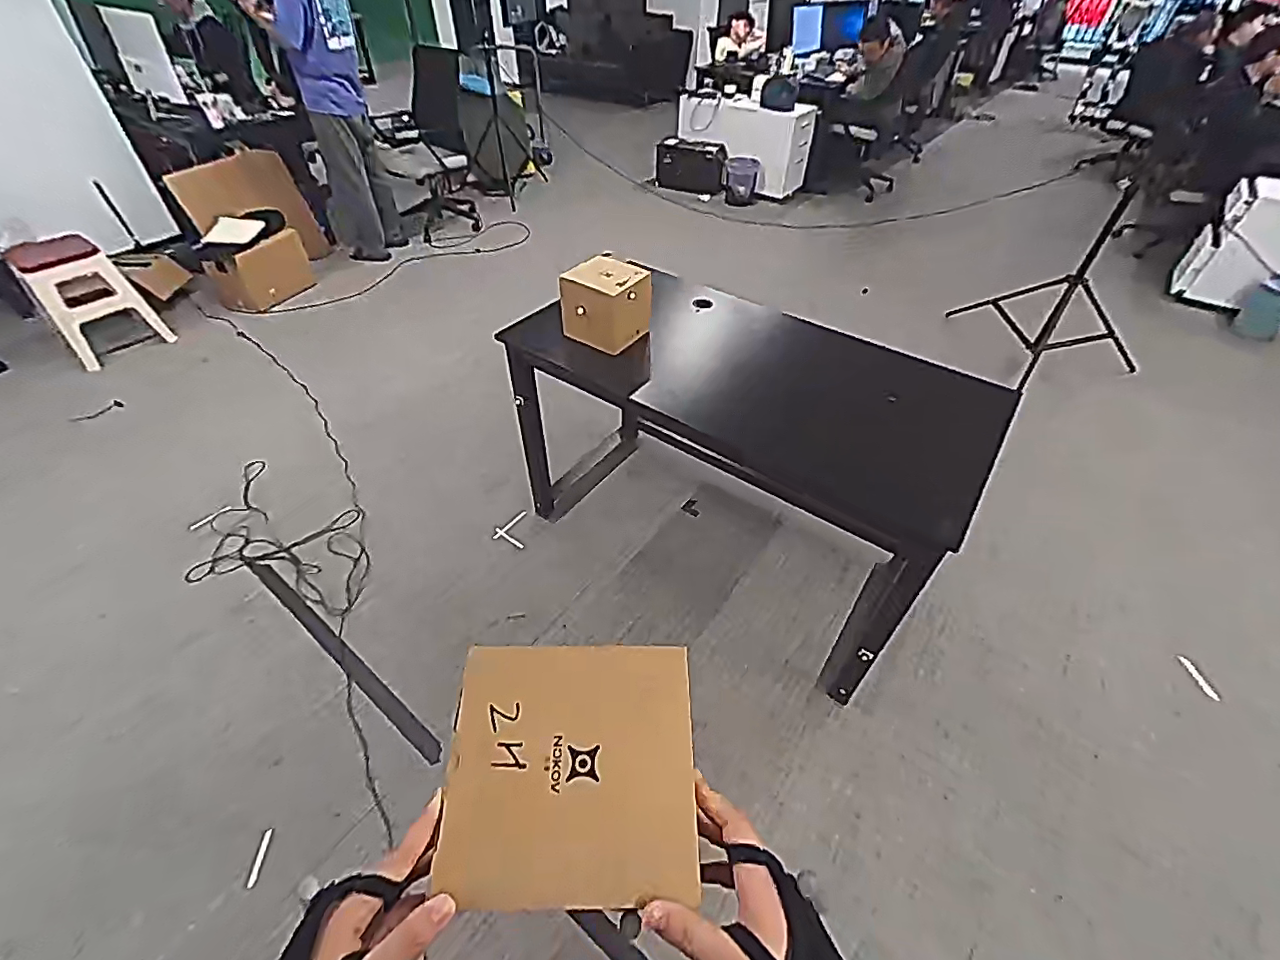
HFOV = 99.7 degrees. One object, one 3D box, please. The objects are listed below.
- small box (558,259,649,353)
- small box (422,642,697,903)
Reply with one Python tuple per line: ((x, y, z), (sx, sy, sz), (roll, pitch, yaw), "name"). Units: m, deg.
((-0.094, -0.456, 1.423), (0.179, 0.176, 0.168), (26, 50, 23), "small box")
((-0.054, 0.242, 0.451), (0.179, 0.176, 0.168), (0, 55, -2), "small box")
